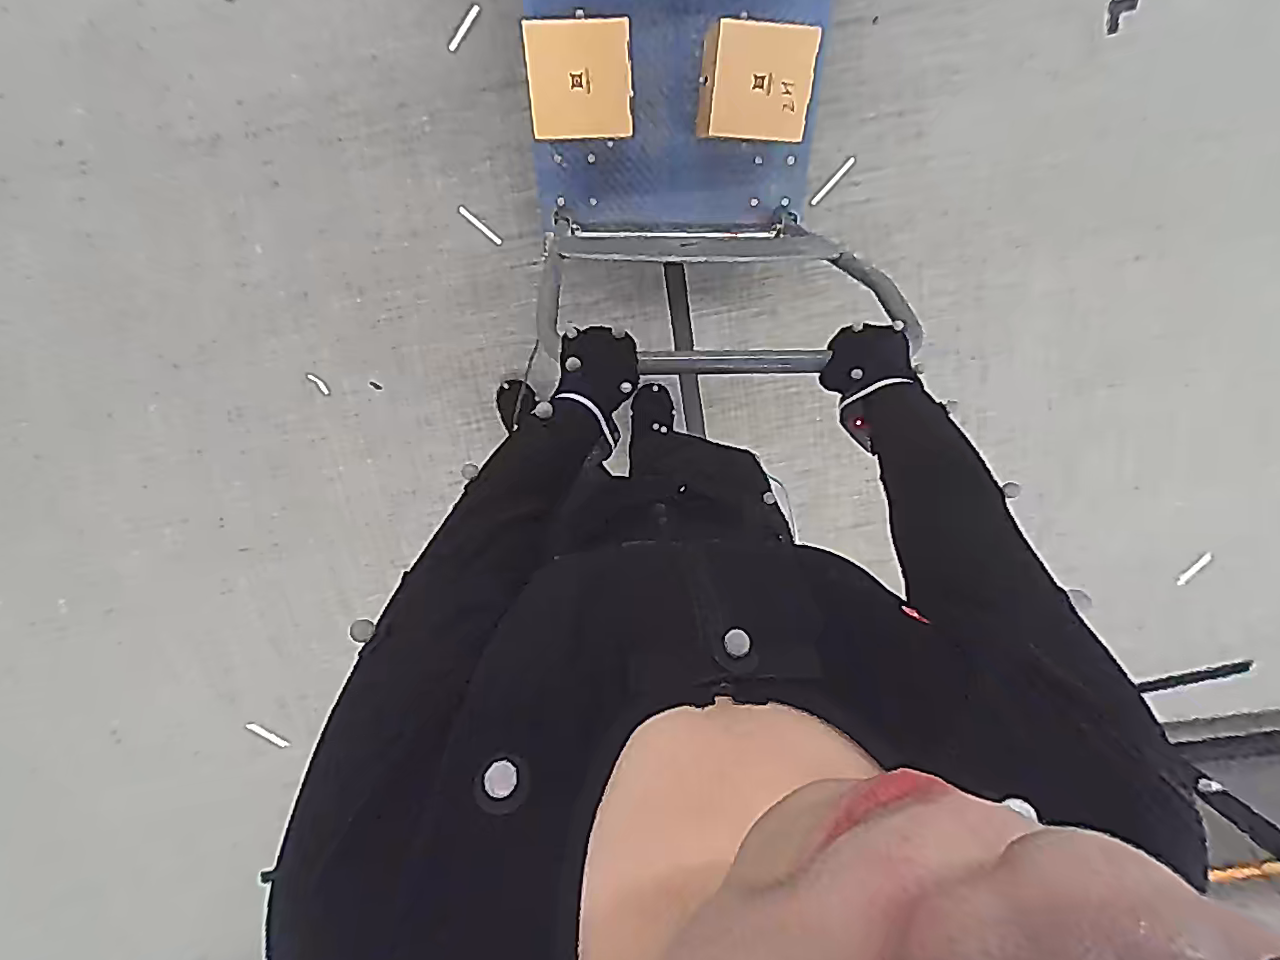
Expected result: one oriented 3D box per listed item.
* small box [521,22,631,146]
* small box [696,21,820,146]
[{"bbox_3d":[-0.111,-0.710,0.985,0.179,0.176,0.168,-5,121,-3],"label":"small box"},{"bbox_3d":[0.205,-0.722,1.003,0.179,0.176,0.168,1,121,-5],"label":"small box"}]
